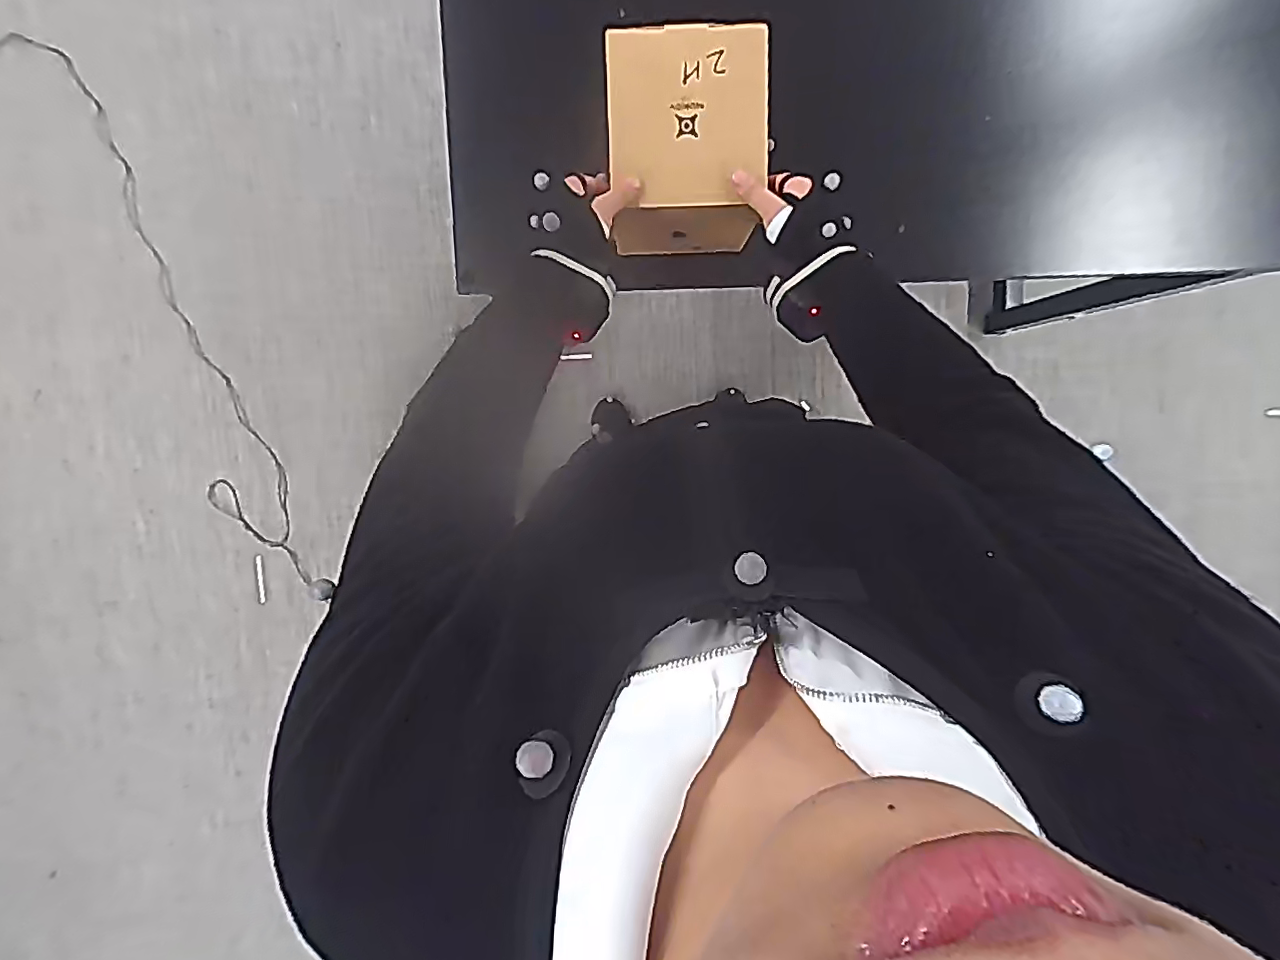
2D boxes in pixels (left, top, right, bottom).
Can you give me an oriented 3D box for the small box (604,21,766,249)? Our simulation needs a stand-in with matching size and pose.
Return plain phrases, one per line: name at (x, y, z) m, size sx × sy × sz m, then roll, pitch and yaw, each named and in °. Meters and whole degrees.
small box at (0.049, -0.382, 0.634) m, size 0.168 × 0.176 × 0.179 m, roll -2°, pitch 96°, yaw 1°
